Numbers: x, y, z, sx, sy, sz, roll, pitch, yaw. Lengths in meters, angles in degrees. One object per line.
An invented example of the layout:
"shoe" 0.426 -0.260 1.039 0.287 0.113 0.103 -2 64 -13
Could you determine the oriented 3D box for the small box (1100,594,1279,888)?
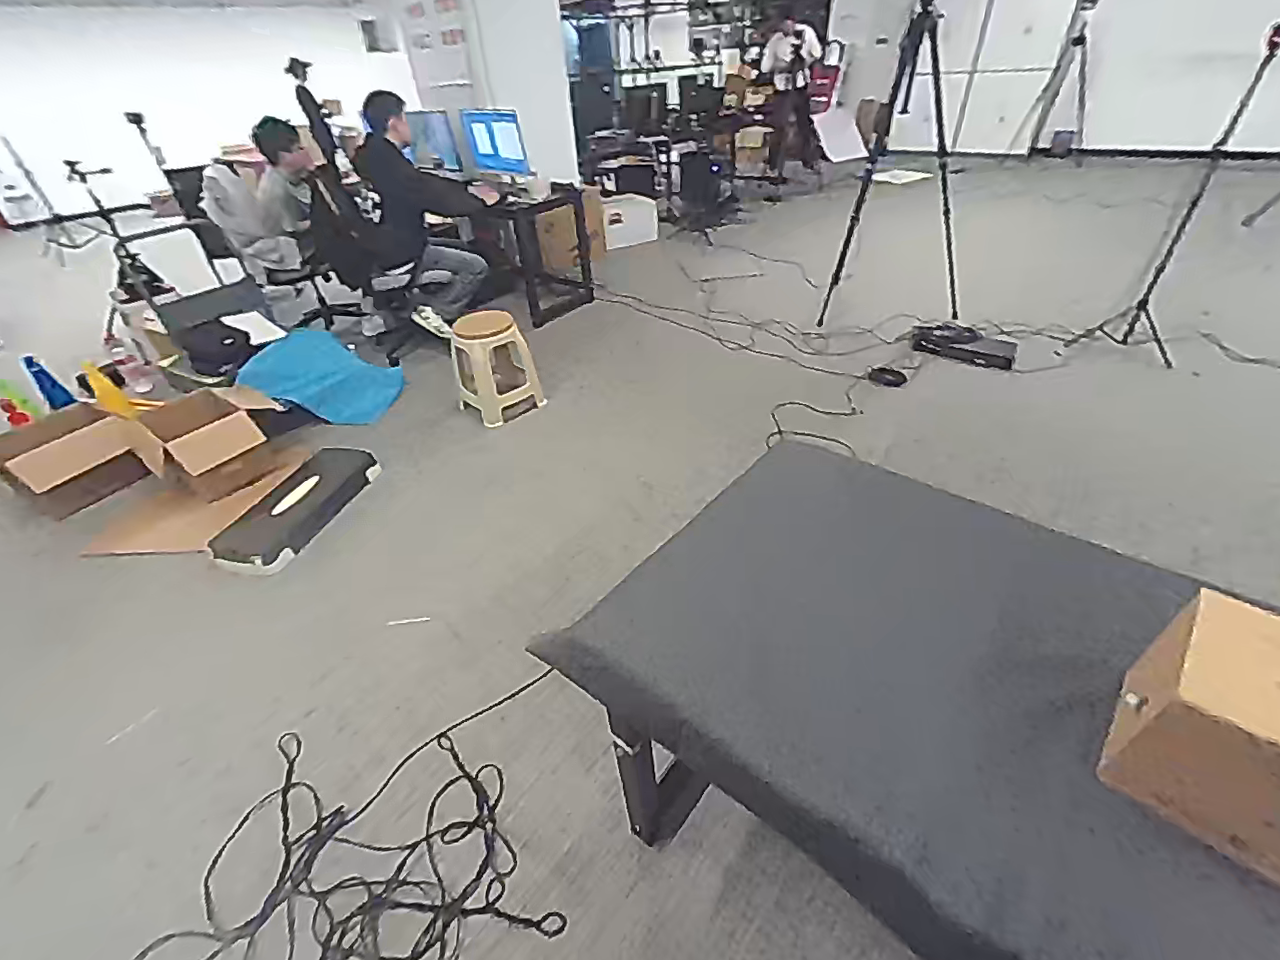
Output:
"small box" 0.608 0.258 0.543 0.168 0.176 0.179 29 48 34
